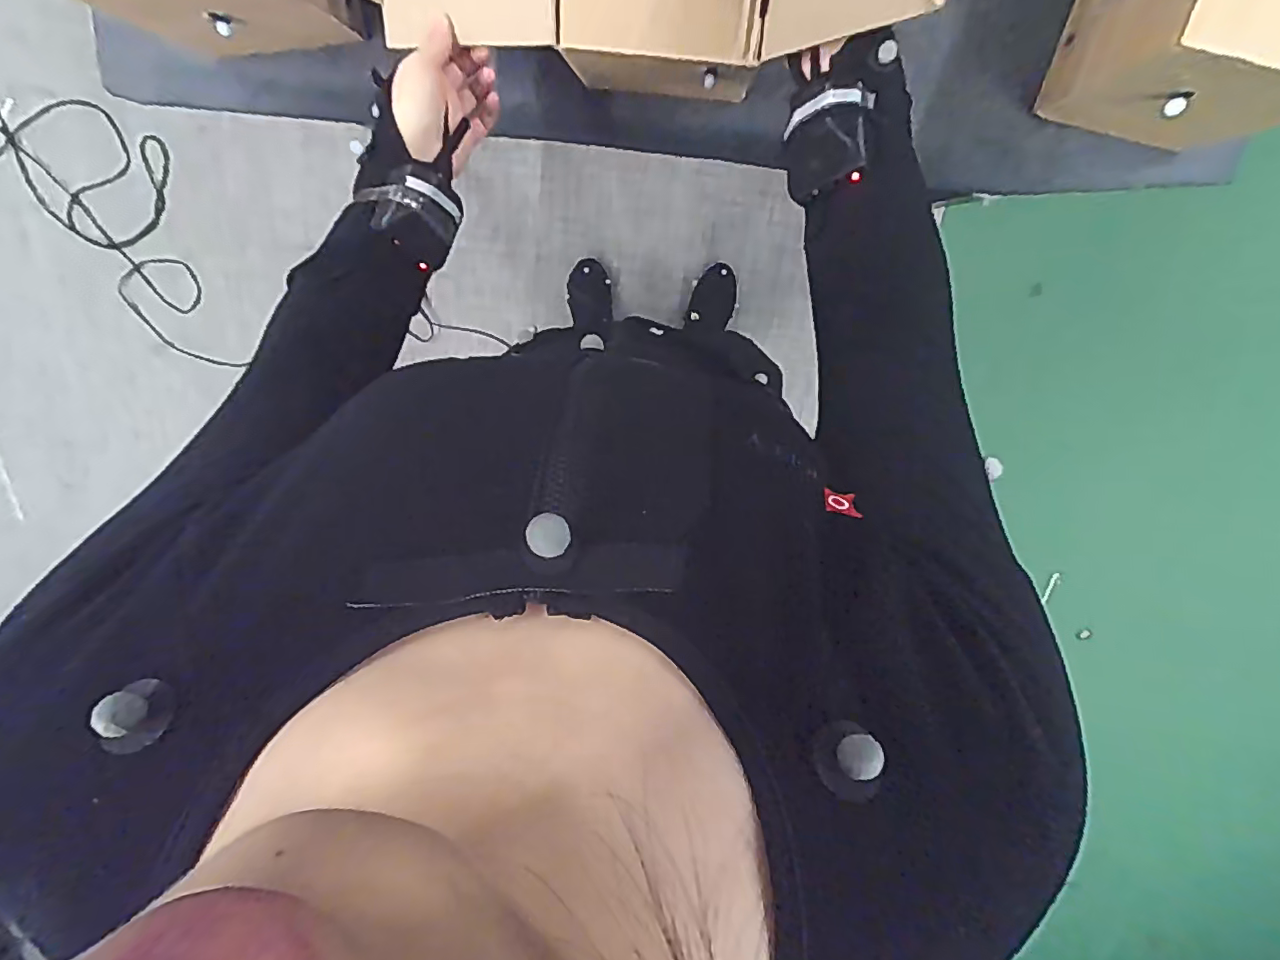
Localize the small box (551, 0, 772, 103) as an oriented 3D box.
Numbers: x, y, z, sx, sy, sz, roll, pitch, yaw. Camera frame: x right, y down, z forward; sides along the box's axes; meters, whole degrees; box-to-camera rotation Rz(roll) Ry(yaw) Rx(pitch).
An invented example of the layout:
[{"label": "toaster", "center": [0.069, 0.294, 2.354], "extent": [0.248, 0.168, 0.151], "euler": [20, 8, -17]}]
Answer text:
[{"label": "small box", "center": [0.025, -0.449, 0.477], "extent": [0.179, 0.176, 0.168], "euler": [5, 117, 1]}]

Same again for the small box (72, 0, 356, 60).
[{"label": "small box", "center": [-0.381, -0.499, 0.475], "extent": [0.179, 0.176, 0.168], "euler": [-4, 113, 4]}]

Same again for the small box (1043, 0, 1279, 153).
[{"label": "small box", "center": [0.512, -0.410, 0.471], "extent": [0.179, 0.176, 0.168], "euler": [12, 108, -2]}]
